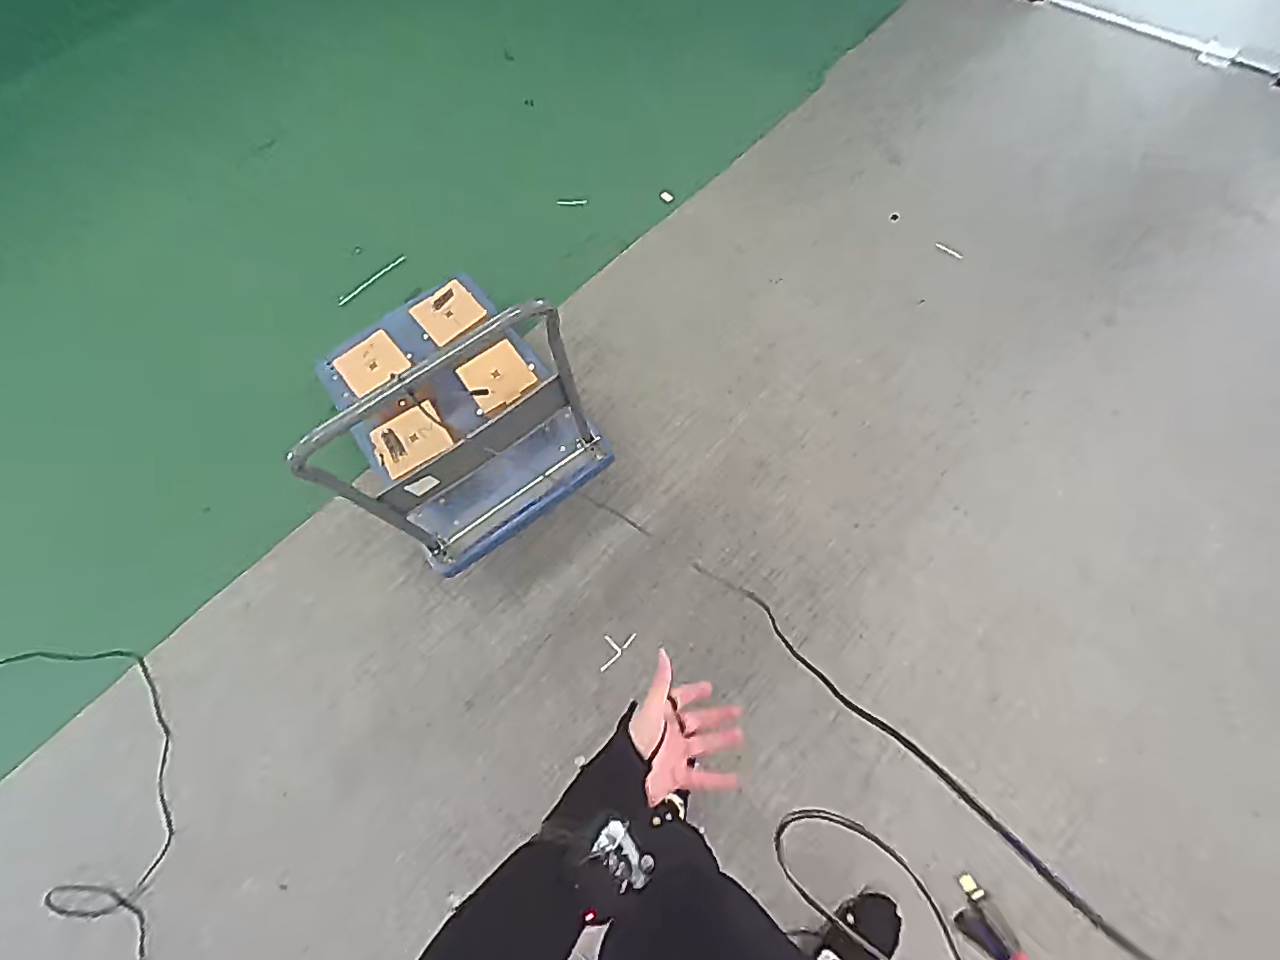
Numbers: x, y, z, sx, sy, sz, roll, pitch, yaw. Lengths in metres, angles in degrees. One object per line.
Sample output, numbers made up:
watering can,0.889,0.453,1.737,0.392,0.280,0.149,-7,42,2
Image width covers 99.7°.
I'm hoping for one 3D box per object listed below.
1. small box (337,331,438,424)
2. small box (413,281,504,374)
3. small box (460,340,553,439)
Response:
small box,-0.718,-0.285,1.558,0.168,0.176,0.179,-39,70,-11
small box,-0.528,-0.443,1.603,0.168,0.176,0.179,-40,71,-10
small box,-0.367,-0.247,1.510,0.168,0.176,0.179,-35,70,-9
